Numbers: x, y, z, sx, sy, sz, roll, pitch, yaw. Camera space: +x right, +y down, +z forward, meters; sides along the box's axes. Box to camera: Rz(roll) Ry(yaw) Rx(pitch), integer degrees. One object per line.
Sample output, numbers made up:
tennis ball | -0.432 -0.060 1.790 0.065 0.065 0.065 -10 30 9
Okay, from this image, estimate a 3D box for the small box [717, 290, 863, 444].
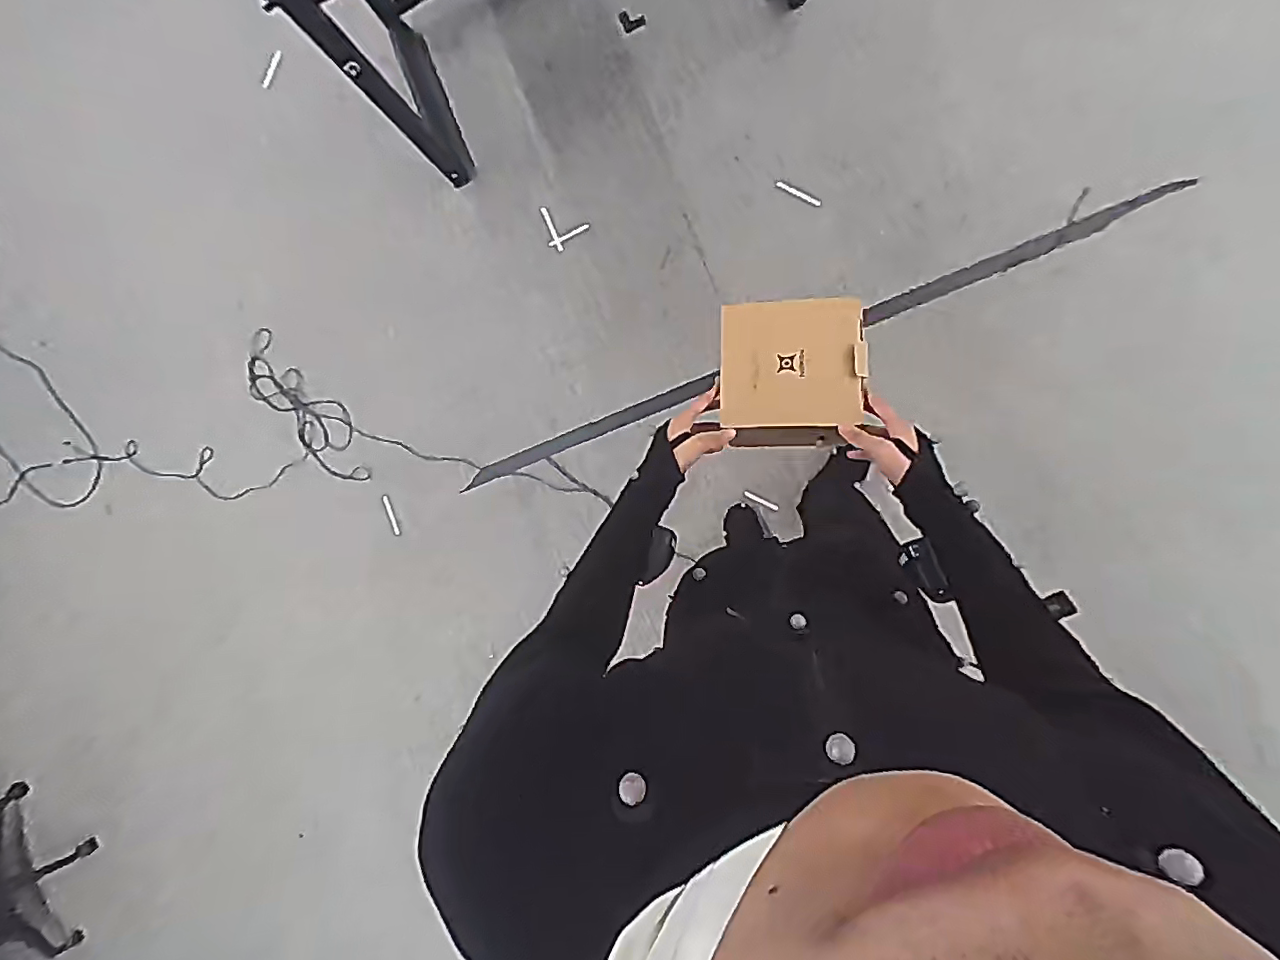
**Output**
small box | 0.200 -0.145 0.752 0.179 0.176 0.168 -1 83 13
